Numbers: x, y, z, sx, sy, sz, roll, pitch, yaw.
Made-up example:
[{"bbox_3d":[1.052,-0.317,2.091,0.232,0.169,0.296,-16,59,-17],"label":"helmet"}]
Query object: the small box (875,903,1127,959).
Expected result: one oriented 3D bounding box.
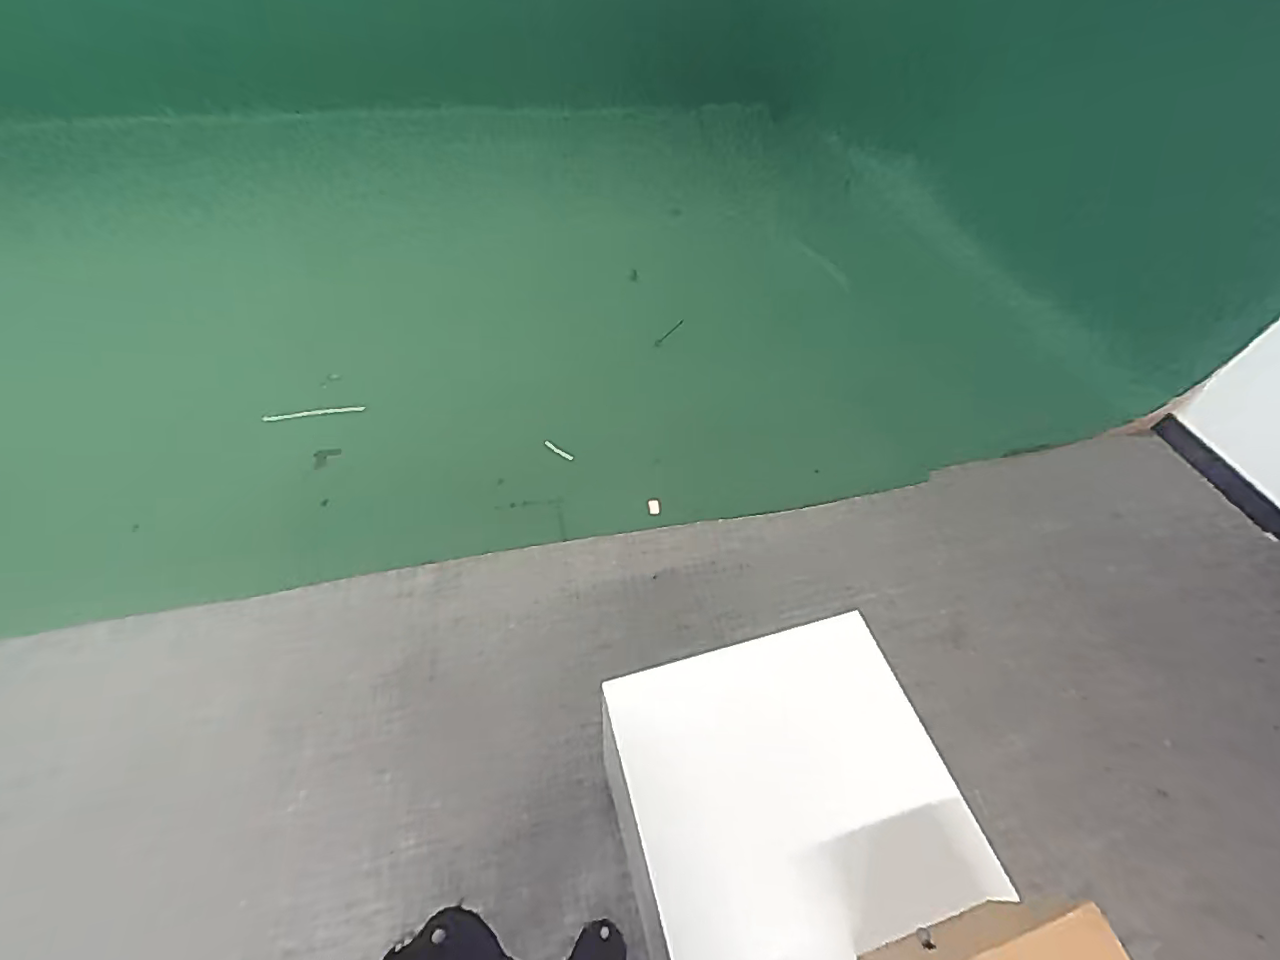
[{"bbox_3d":[0.334,0.500,0.475,0.179,0.176,0.168,-12,55,-12],"label":"small box"}]
